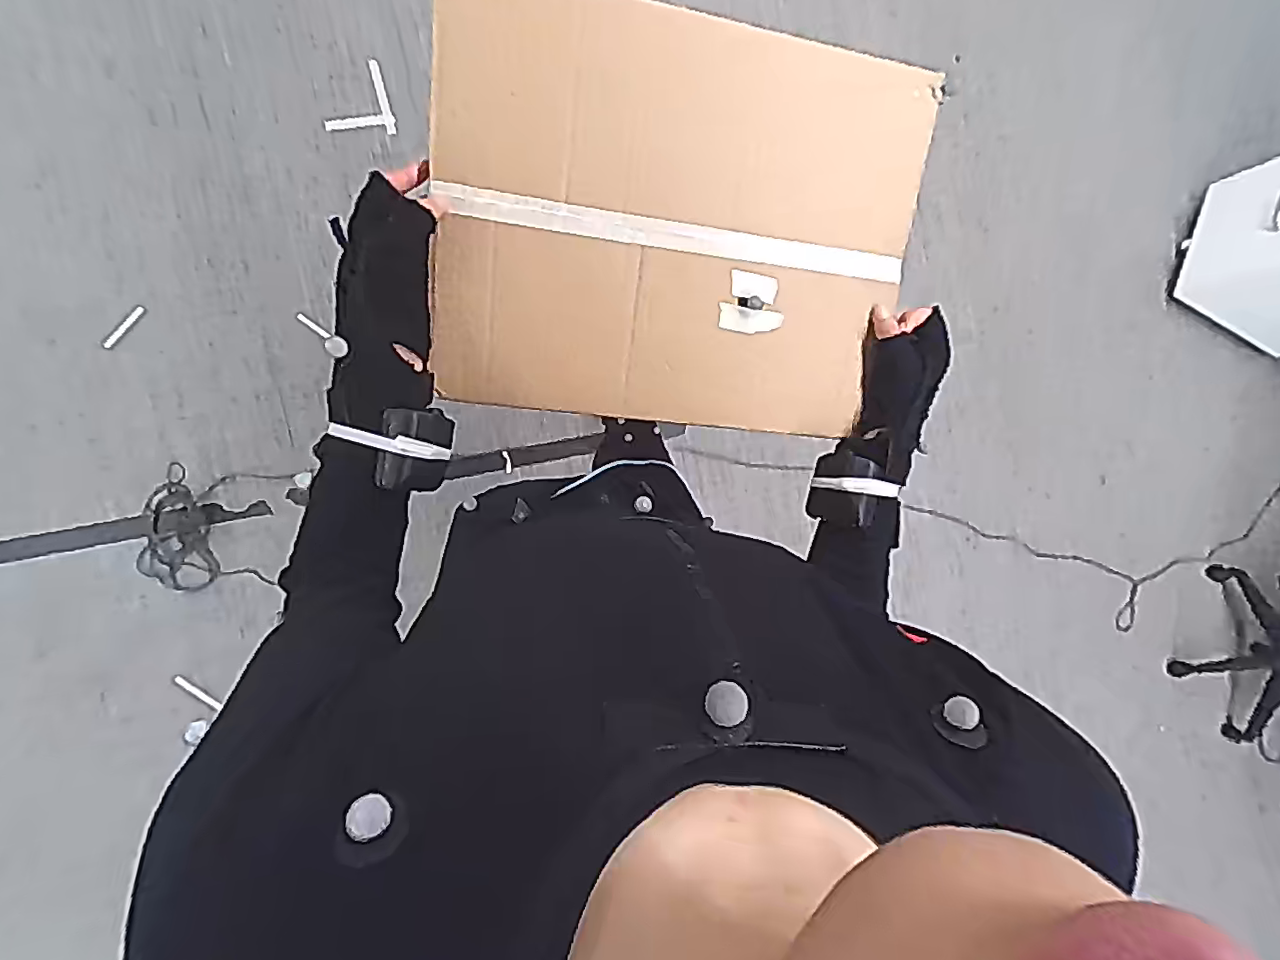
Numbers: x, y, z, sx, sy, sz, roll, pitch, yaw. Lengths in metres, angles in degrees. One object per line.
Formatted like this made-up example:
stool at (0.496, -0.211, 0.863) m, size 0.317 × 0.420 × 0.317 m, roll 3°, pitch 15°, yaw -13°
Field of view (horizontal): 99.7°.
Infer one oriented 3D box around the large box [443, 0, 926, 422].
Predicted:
large box at (0.011, -0.256, 0.607) m, size 0.408 × 0.320 × 0.320 m, roll 4°, pitch 107°, yaw -12°
